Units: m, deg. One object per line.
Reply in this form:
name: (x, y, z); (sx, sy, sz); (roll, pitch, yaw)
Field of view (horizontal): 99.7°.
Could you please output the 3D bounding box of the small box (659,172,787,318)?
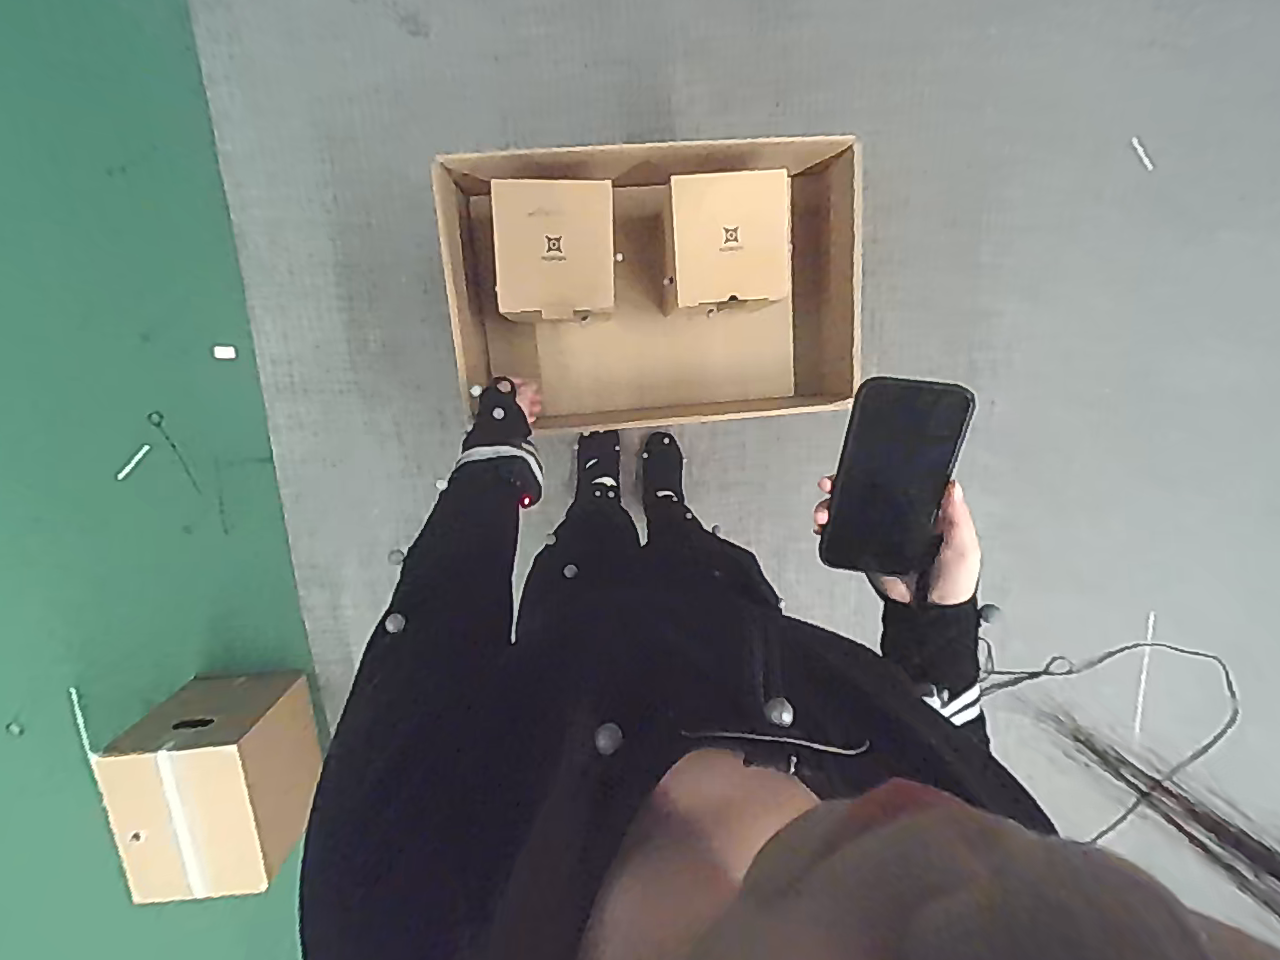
small box: (0.122, -0.355, 0.843); (0.168, 0.176, 0.179); (-5, 103, -2)
